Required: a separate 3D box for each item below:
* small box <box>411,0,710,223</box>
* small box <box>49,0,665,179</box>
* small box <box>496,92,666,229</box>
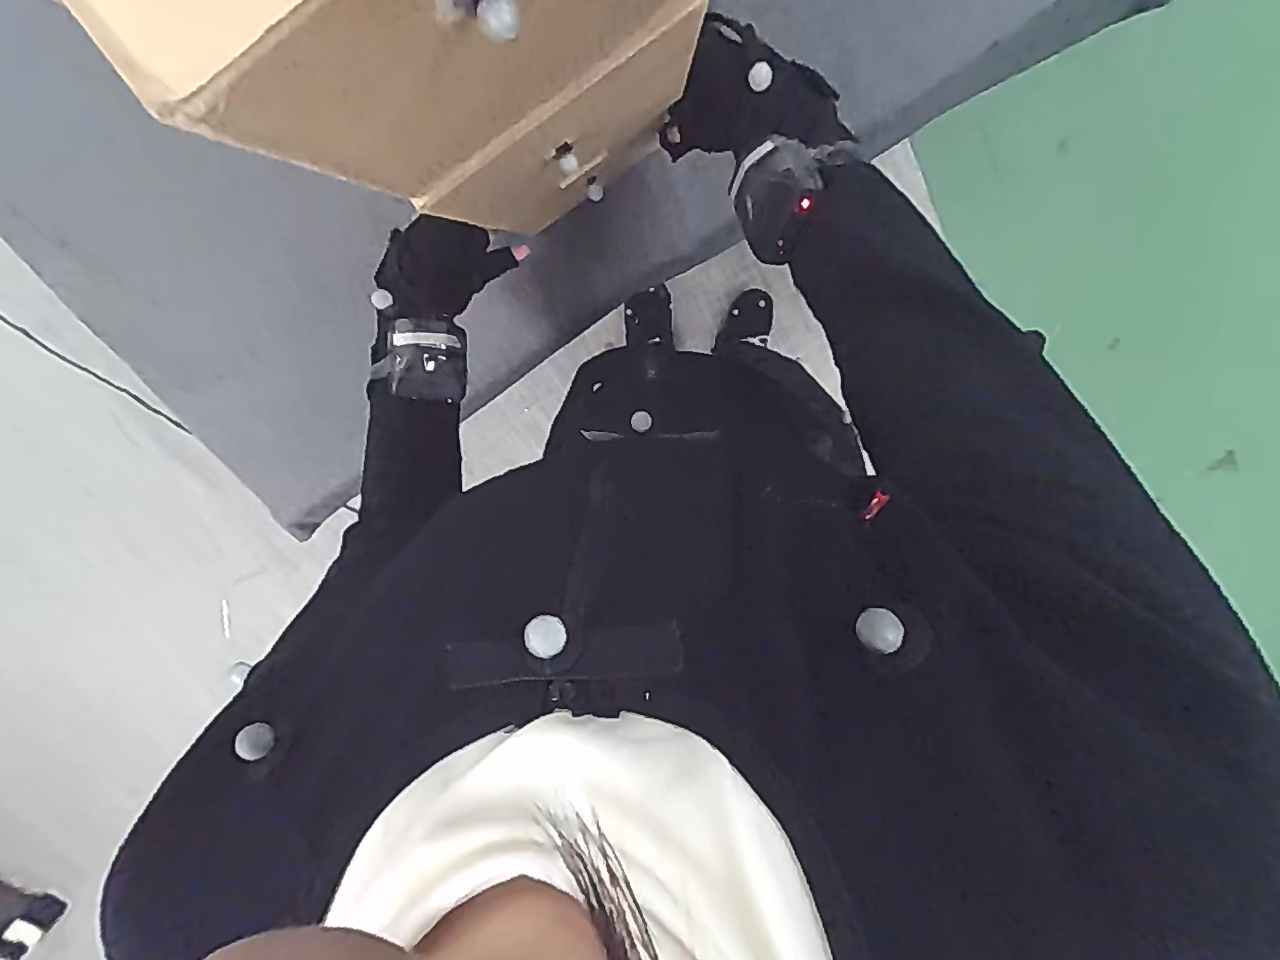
[{"bbox_3d":[-0.083,-0.277,0.315,0.179,0.176,0.168,-33,109,11],"label":"small box"},{"bbox_3d":[-0.086,-0.221,0.163,0.179,0.176,0.168,-29,110,10],"label":"small box"},{"bbox_3d":[-0.095,-0.340,0.465,0.168,0.176,0.179,-32,109,9],"label":"small box"}]
